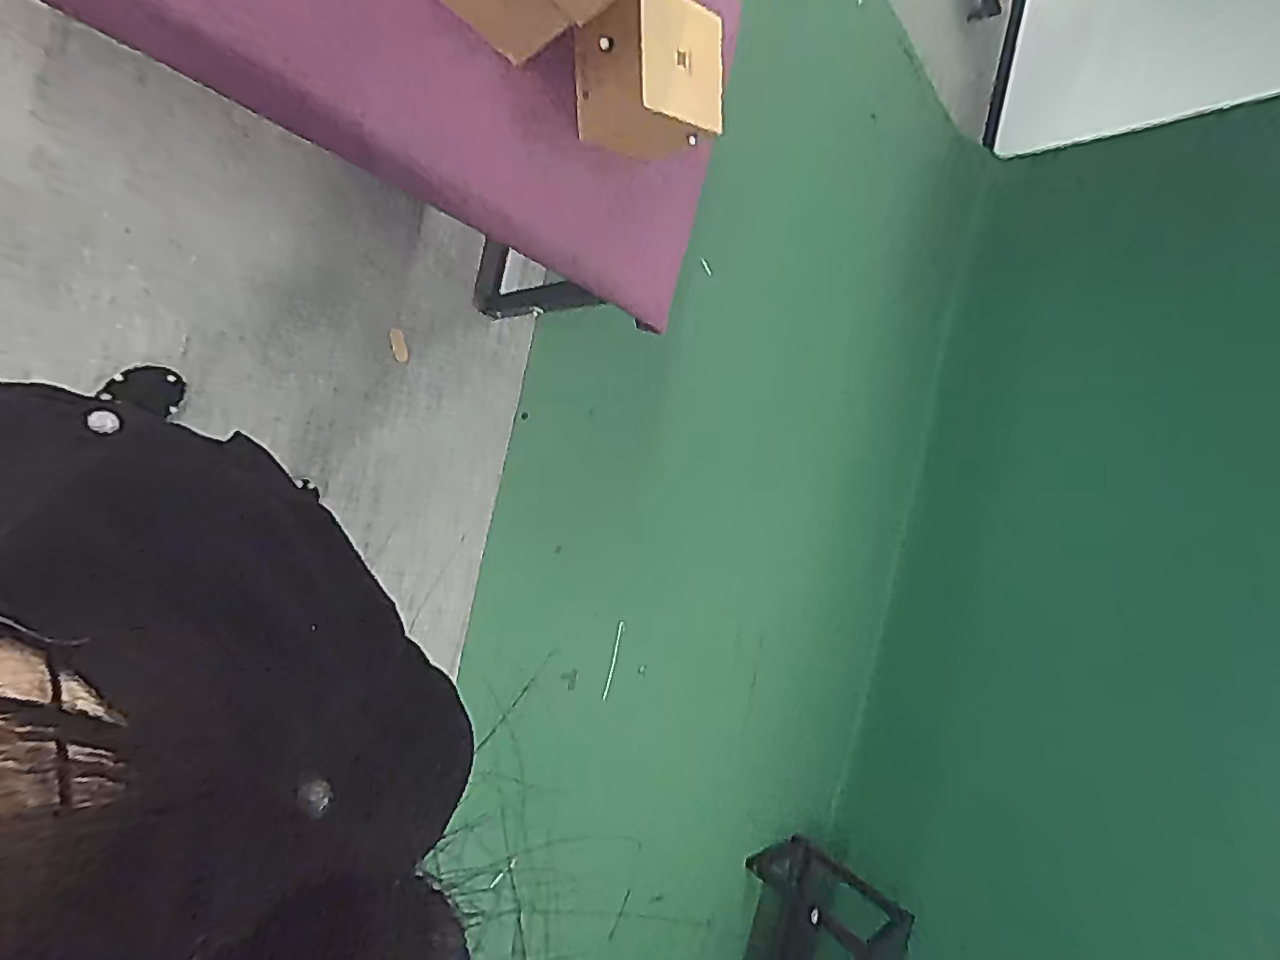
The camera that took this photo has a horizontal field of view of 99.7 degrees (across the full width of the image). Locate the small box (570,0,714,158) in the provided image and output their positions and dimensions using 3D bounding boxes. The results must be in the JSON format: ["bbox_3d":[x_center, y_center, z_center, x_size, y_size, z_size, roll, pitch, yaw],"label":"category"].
[{"bbox_3d":[0.000,-0.642,0.867,0.179,0.176,0.168,-14,108,-41],"label":"small box"}]

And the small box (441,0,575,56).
[{"bbox_3d":[-0.177,-0.699,0.687,0.179,0.176,0.168,19,86,-44],"label":"small box"}]
